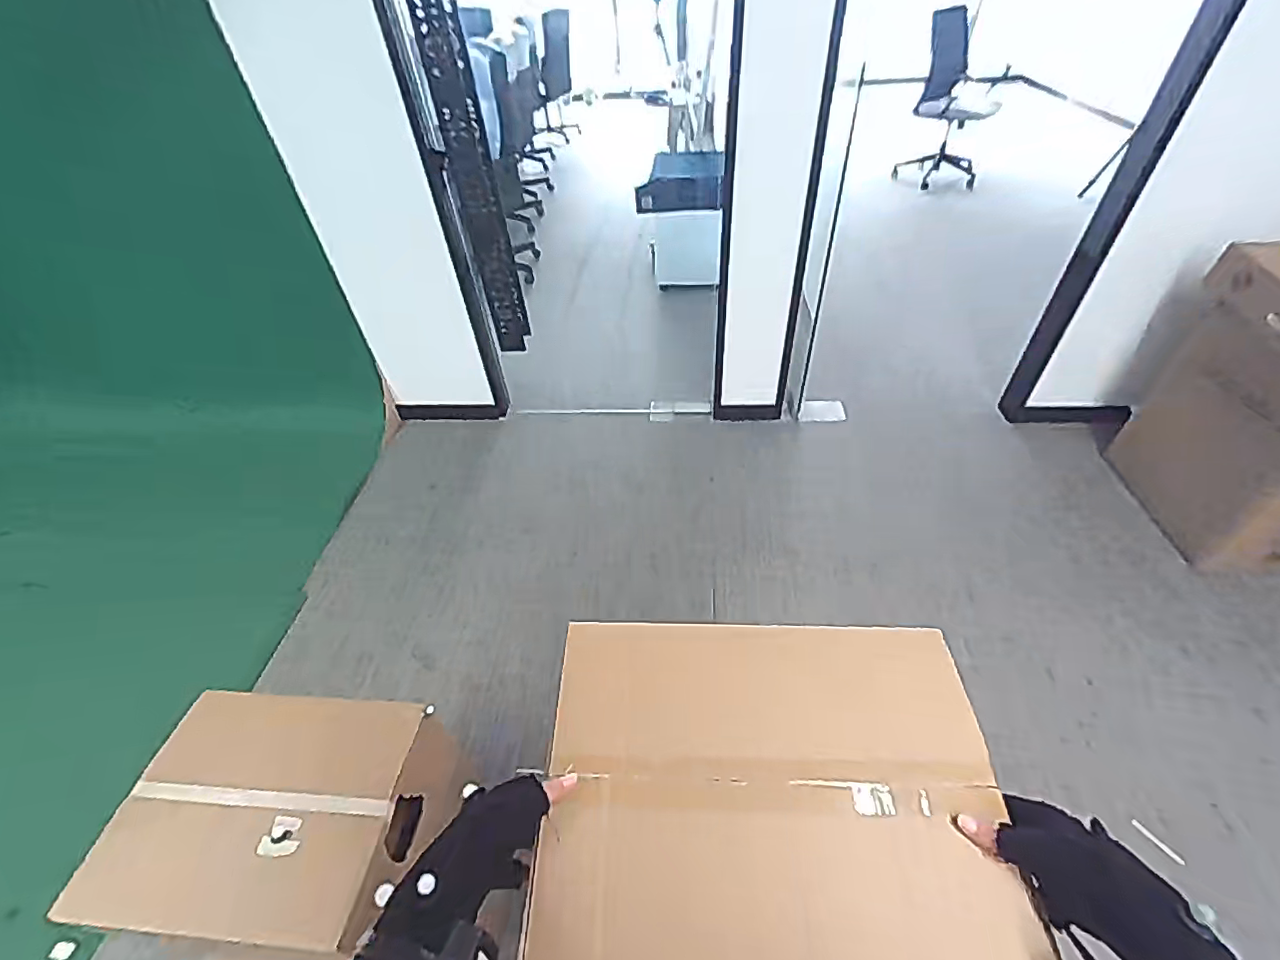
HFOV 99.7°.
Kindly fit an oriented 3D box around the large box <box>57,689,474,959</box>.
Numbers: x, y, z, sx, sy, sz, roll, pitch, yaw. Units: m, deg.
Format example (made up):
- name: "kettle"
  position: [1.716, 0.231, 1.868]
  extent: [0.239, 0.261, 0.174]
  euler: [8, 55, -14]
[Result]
- name: "large box"
  position: [-0.545, 0.577, 0.891]
  extent: [0.408, 0.320, 0.320]
  euler: [2, 41, 6]
